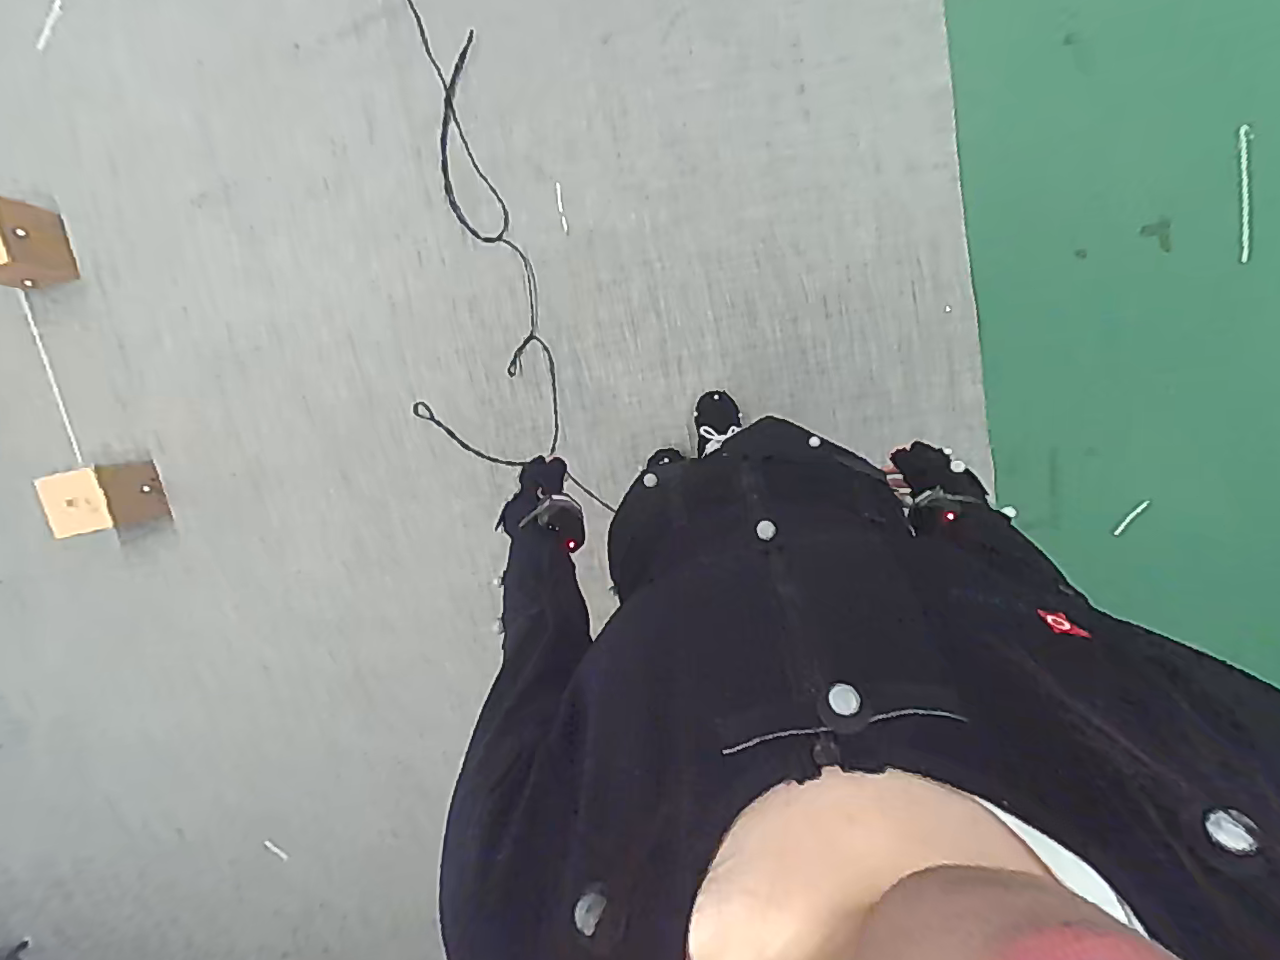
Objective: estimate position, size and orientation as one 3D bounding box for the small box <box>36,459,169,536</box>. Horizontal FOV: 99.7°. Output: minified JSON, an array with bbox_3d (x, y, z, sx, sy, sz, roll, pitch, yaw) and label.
[{"bbox_3d":[-1.463,0.043,1.483,0.179,0.176,0.168,-12,99,5],"label":"small box"}]

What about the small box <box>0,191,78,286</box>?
[{"bbox_3d":[-1.623,-0.617,1.385,0.168,0.176,0.179,-12,99,4],"label":"small box"}]
